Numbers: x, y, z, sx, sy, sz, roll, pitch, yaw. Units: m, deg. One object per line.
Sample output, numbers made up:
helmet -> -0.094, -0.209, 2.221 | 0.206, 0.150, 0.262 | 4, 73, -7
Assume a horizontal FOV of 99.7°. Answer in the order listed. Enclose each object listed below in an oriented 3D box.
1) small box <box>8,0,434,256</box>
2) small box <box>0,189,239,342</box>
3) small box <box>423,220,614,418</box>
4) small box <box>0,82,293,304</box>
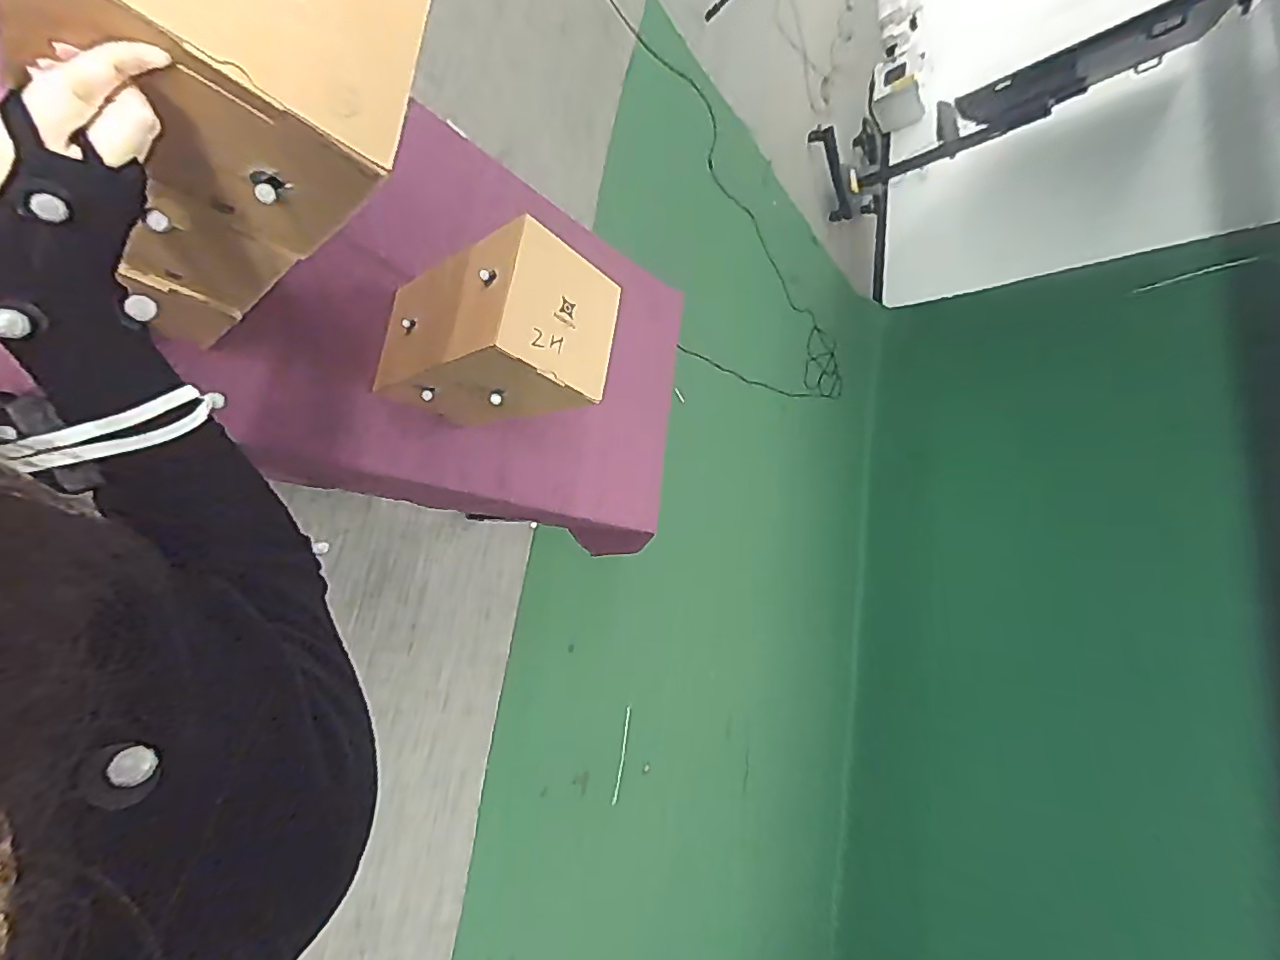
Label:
small box -> -0.264, -0.281, 0.355 | 0.168, 0.176, 0.179 | 19, 72, -48
small box -> -0.514, -0.265, 0.566 | 0.168, 0.176, 0.179 | 22, 72, -47
small box -> -0.161, -0.197, 0.718 | 0.168, 0.176, 0.179 | 24, 70, -45
small box -> -0.387, -0.278, 0.461 | 0.168, 0.176, 0.179 | 23, 70, -46
